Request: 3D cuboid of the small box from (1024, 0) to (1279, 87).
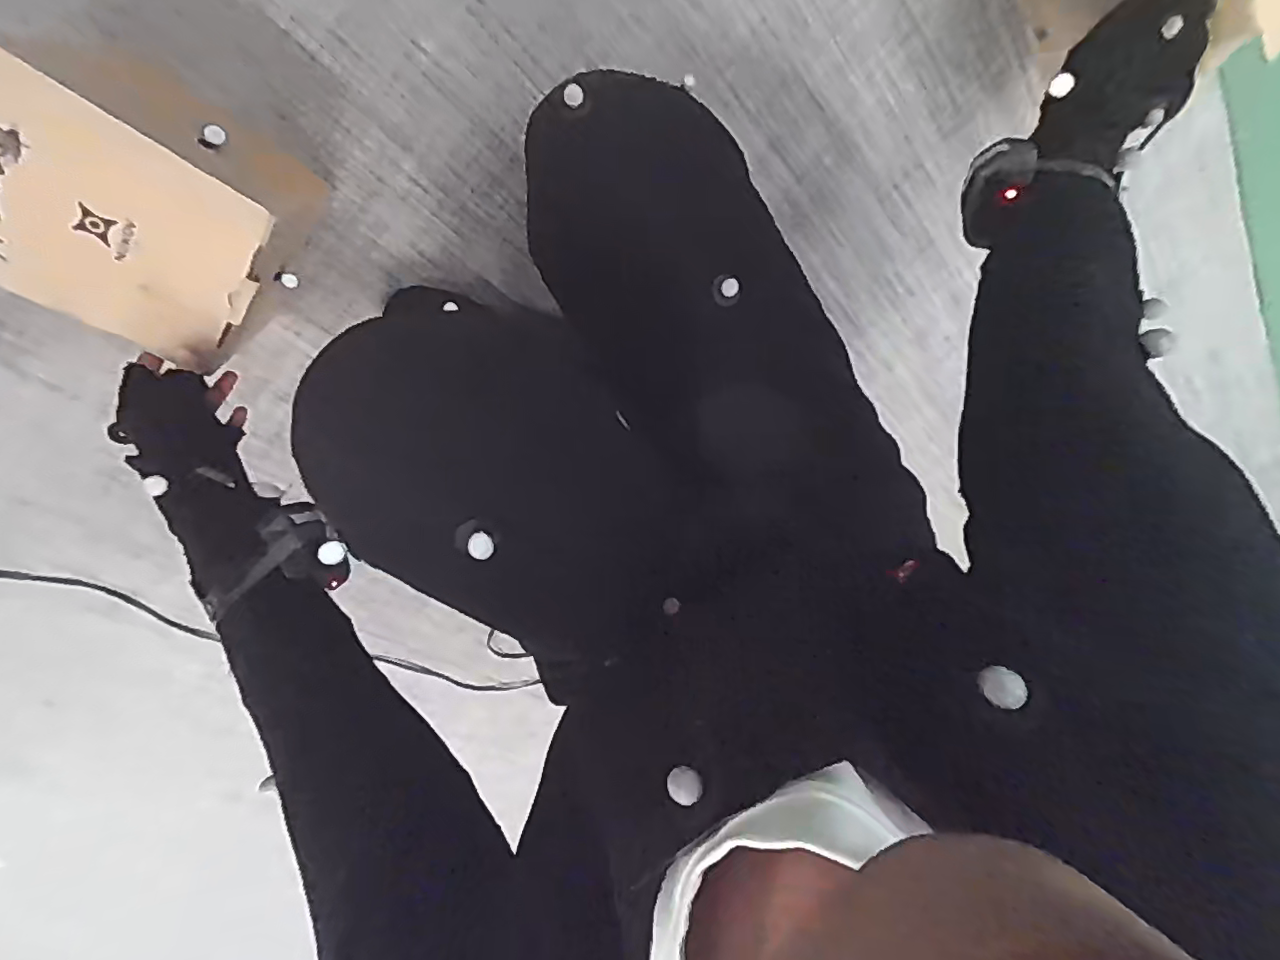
[{"bbox_3d":[0.458,-0.470,0.454,0.179,0.176,0.168,-42,124,13],"label":"small box"}]
